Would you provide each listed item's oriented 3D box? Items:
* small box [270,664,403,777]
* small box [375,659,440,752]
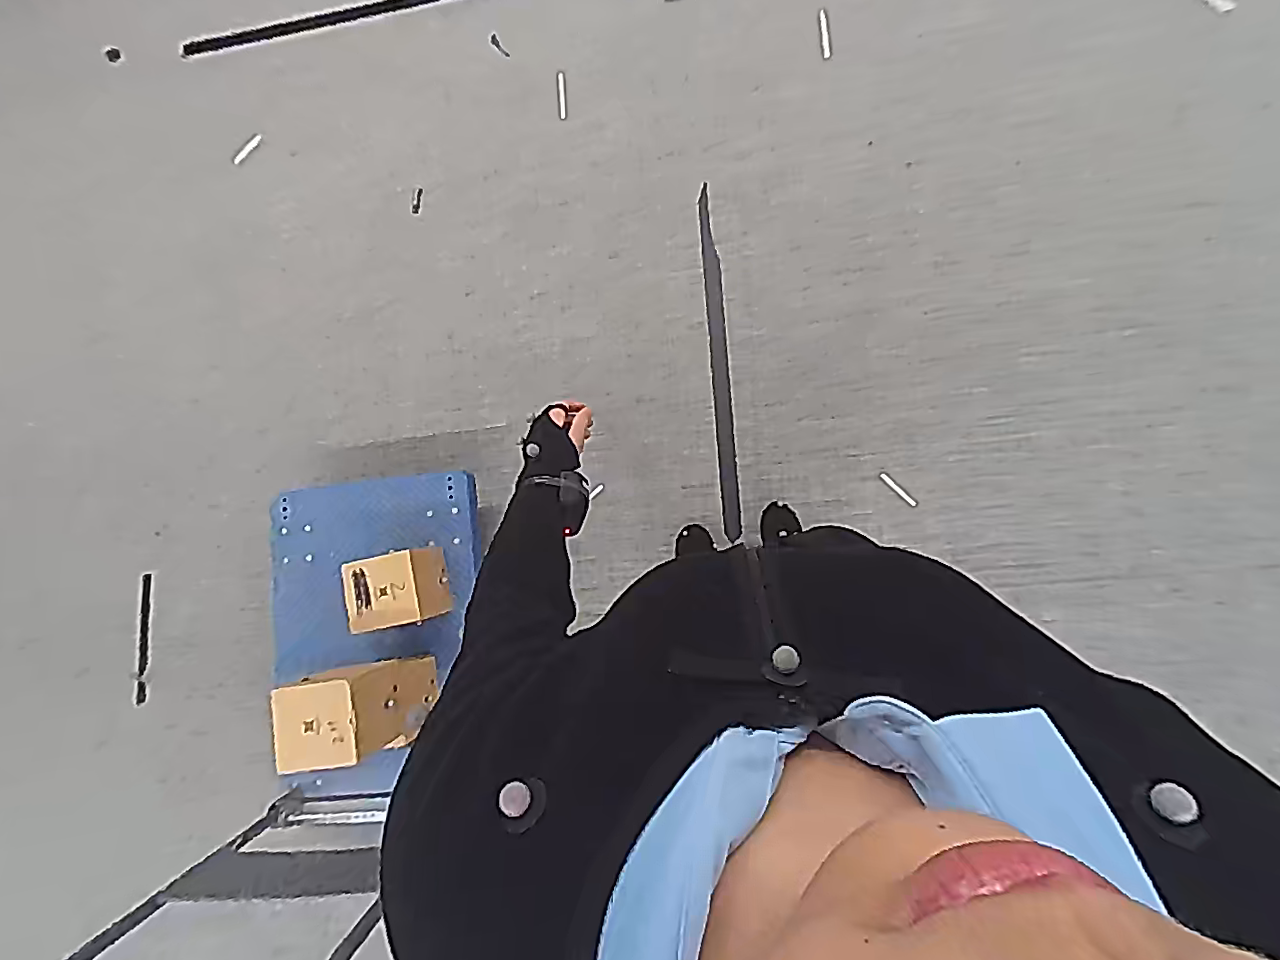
[{"bbox_3d":[-0.630,0.497,1.136,0.179,0.176,0.168,-10,84,5],"label":"small box"},{"bbox_3d":[-0.607,0.538,1.295,0.179,0.176,0.168,-10,83,5],"label":"small box"}]
